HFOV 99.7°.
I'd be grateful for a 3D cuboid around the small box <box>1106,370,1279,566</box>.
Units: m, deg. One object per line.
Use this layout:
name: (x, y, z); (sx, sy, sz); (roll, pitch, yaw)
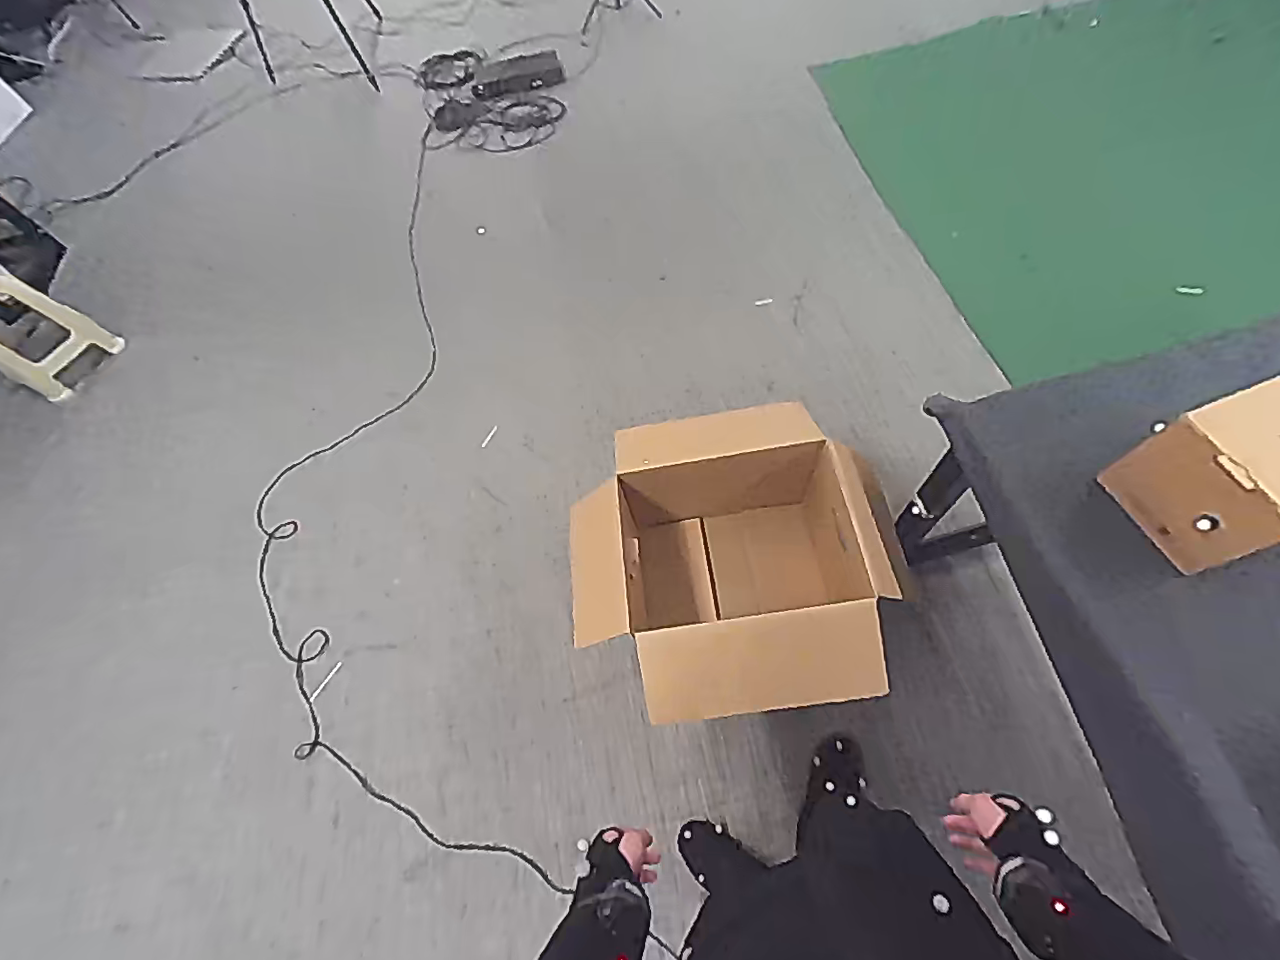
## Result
small box: (0.759, -0.010, 0.692); (0.179, 0.176, 0.168); (-21, 64, -5)
